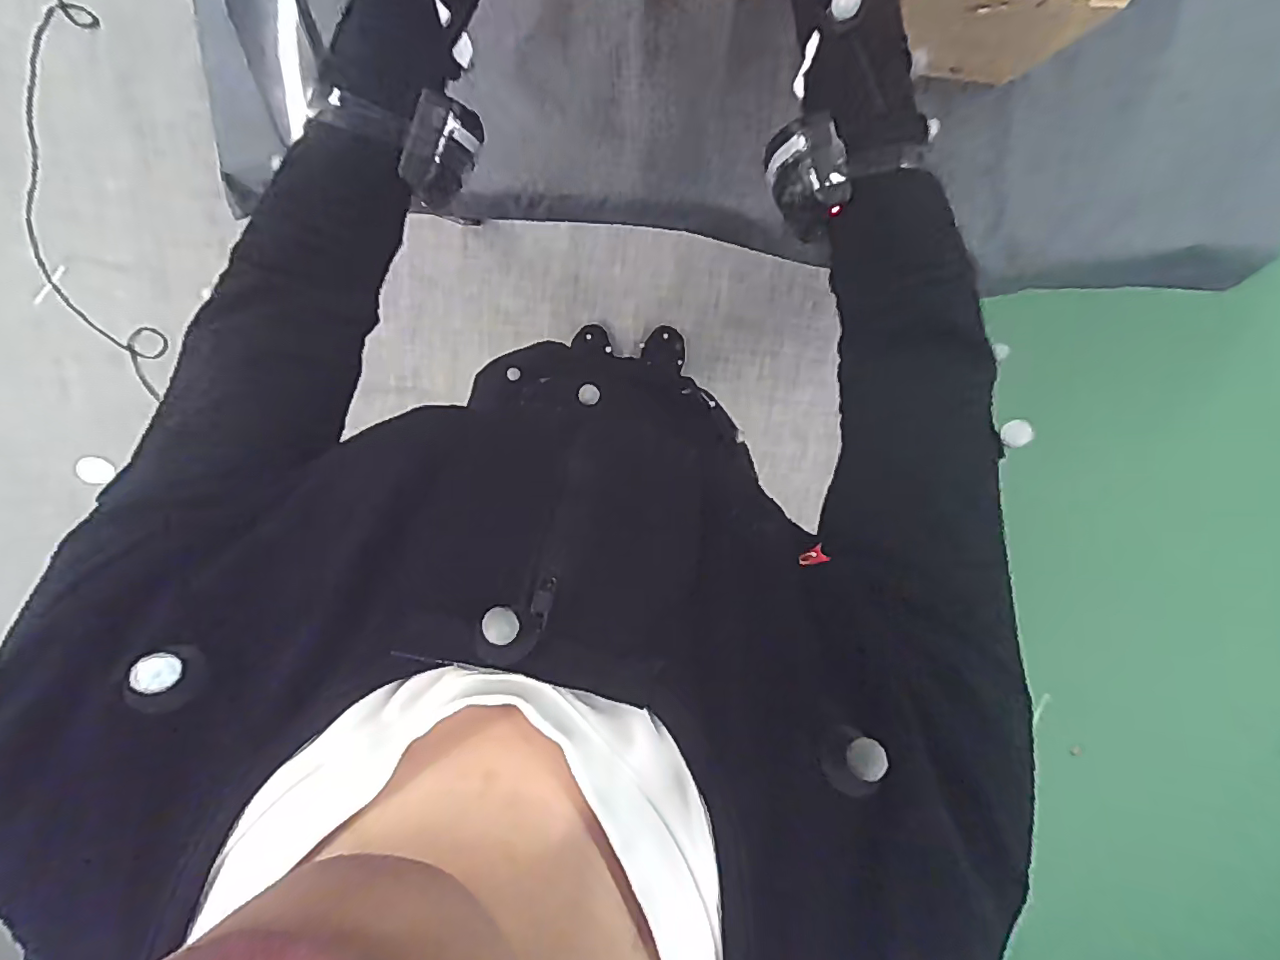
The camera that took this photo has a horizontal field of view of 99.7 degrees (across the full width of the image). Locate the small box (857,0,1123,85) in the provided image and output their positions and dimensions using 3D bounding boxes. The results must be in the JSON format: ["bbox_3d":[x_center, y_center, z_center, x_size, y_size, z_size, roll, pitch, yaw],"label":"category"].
[{"bbox_3d":[0.310,-0.483,0.475,0.168,0.176,0.179,7,108,-1],"label":"small box"}]
